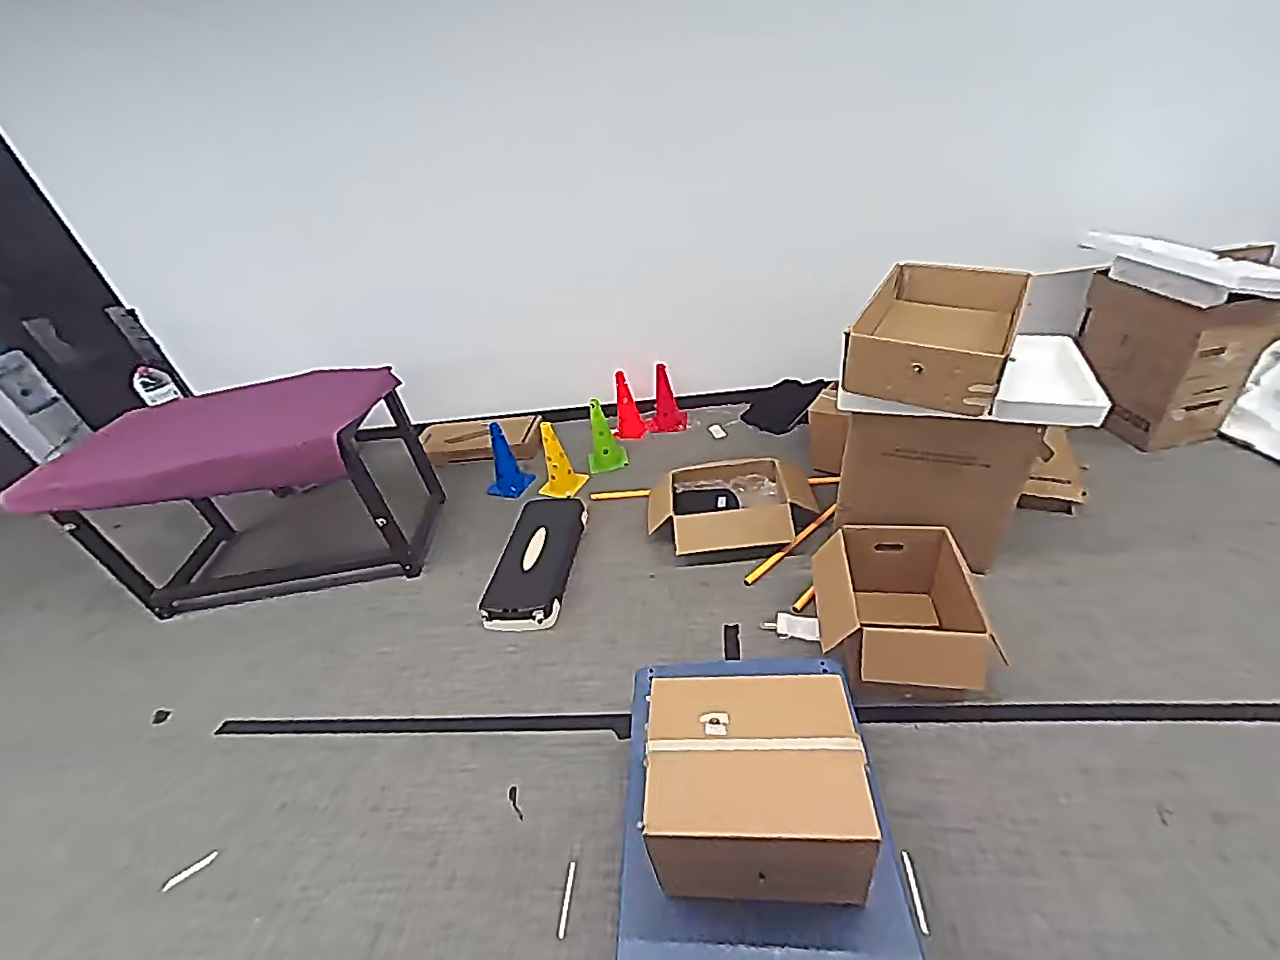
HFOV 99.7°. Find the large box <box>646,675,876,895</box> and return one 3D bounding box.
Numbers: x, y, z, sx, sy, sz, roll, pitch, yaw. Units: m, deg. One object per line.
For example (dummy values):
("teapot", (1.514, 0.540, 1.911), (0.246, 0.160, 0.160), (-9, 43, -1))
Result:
("large box", (0.239, 0.646, 1.144), (0.408, 0.320, 0.320), (-6, 35, 9))
